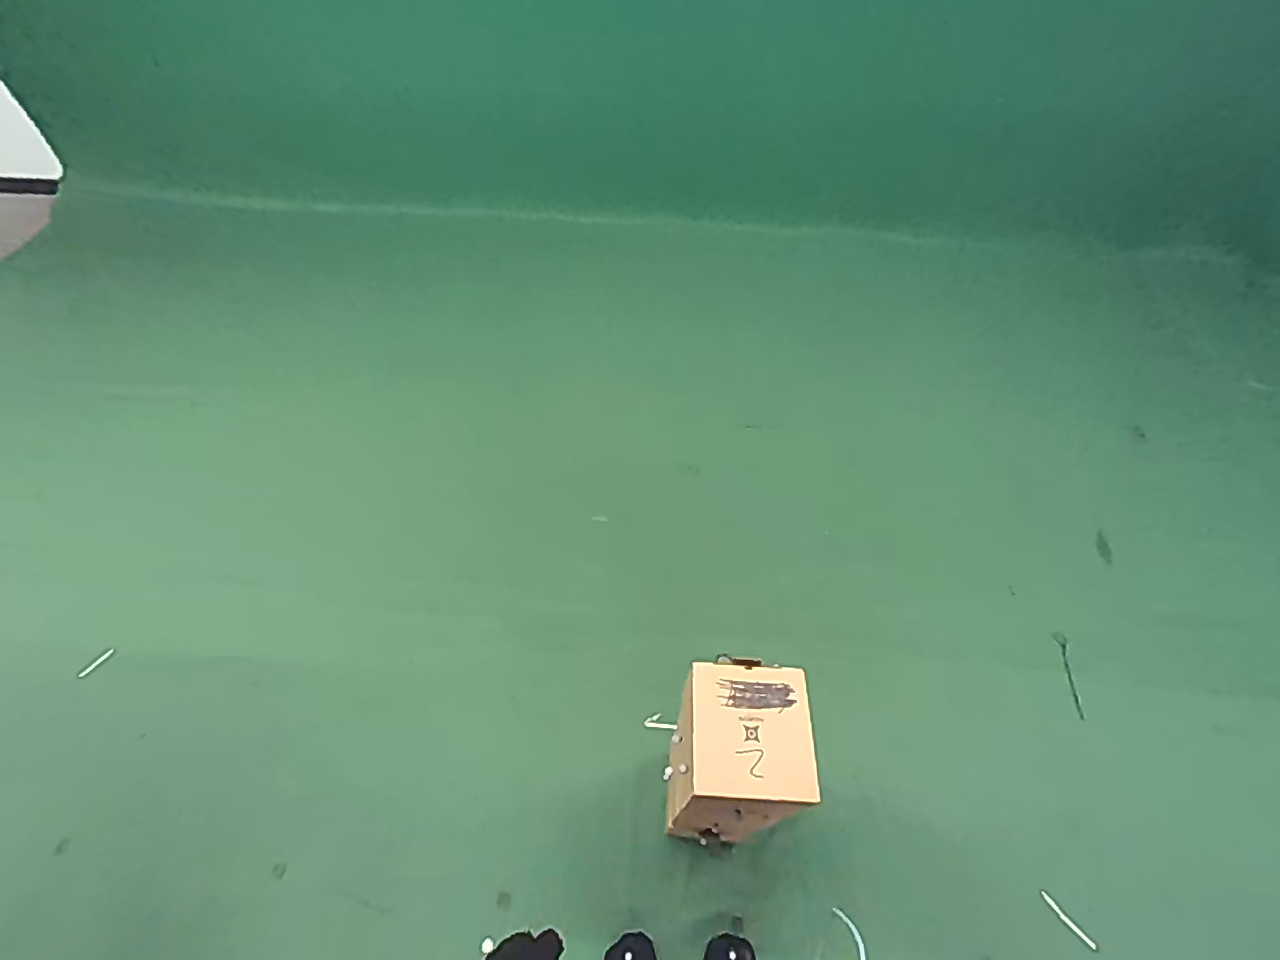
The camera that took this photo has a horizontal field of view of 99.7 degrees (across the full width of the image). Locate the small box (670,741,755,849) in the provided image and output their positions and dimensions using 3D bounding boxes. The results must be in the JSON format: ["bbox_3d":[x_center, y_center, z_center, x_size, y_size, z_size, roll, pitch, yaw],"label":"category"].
[{"bbox_3d":[0.156,0.697,1.192,0.168,0.176,0.179,4,53,4],"label":"small box"}]

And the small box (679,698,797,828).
[{"bbox_3d":[0.160,0.494,0.936,0.179,0.176,0.168,4,52,2],"label":"small box"}]

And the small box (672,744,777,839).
[{"bbox_3d":[0.163,0.593,1.062,0.179,0.176,0.168,6,51,4],"label":"small box"}]
